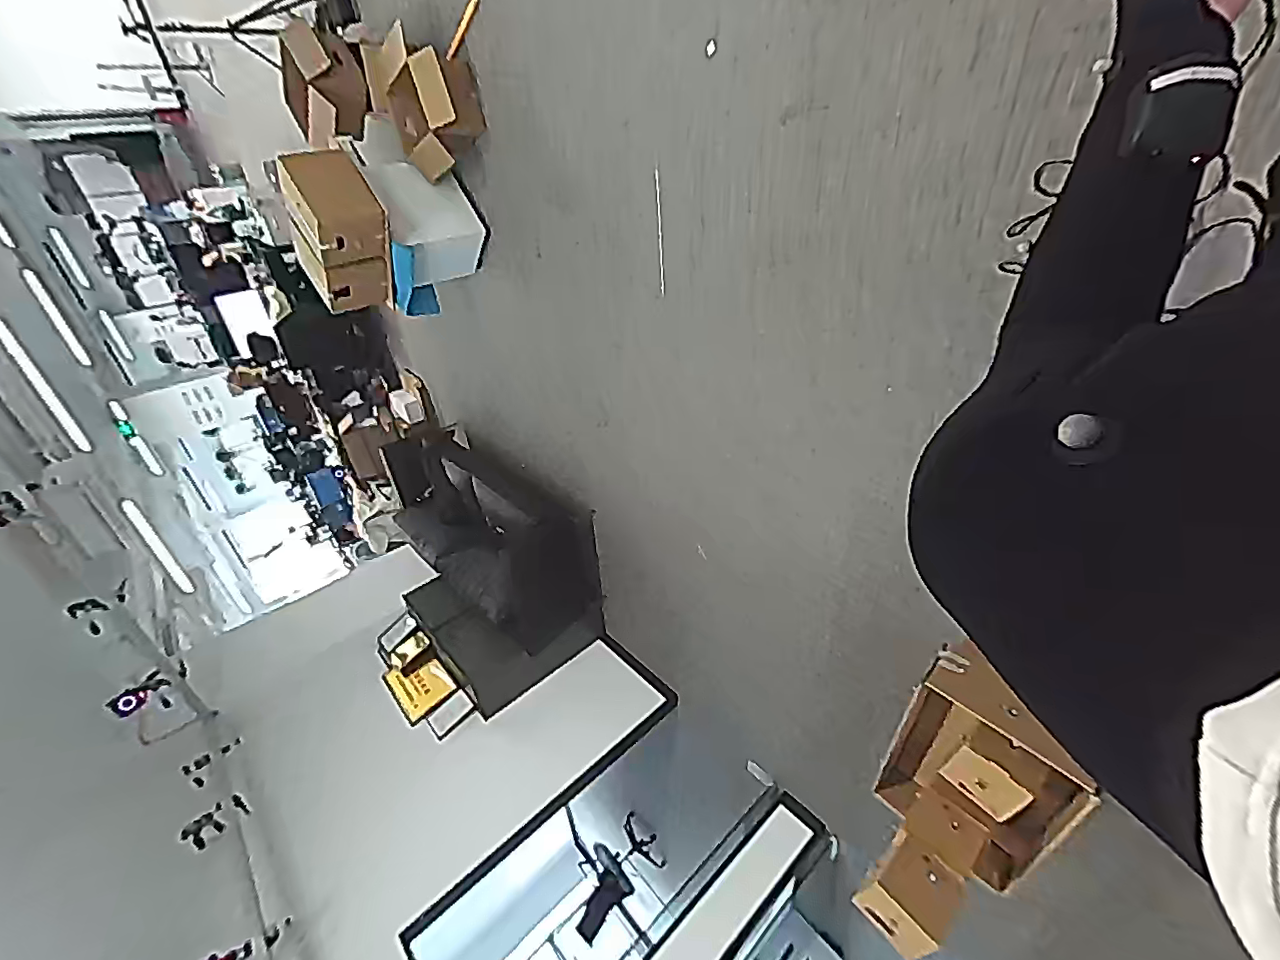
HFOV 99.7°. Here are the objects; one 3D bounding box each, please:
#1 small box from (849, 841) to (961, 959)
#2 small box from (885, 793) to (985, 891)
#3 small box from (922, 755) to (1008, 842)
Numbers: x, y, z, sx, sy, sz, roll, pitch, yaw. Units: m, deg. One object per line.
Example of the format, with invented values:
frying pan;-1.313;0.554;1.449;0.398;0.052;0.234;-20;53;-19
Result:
small box;0.663;1.056;1.351;0.168;0.176;0.179;39;139;32
small box;0.783;0.989;1.442;0.168;0.176;0.179;31;134;40
small box;0.904;0.930;1.532;0.168;0.176;0.179;31;135;39
